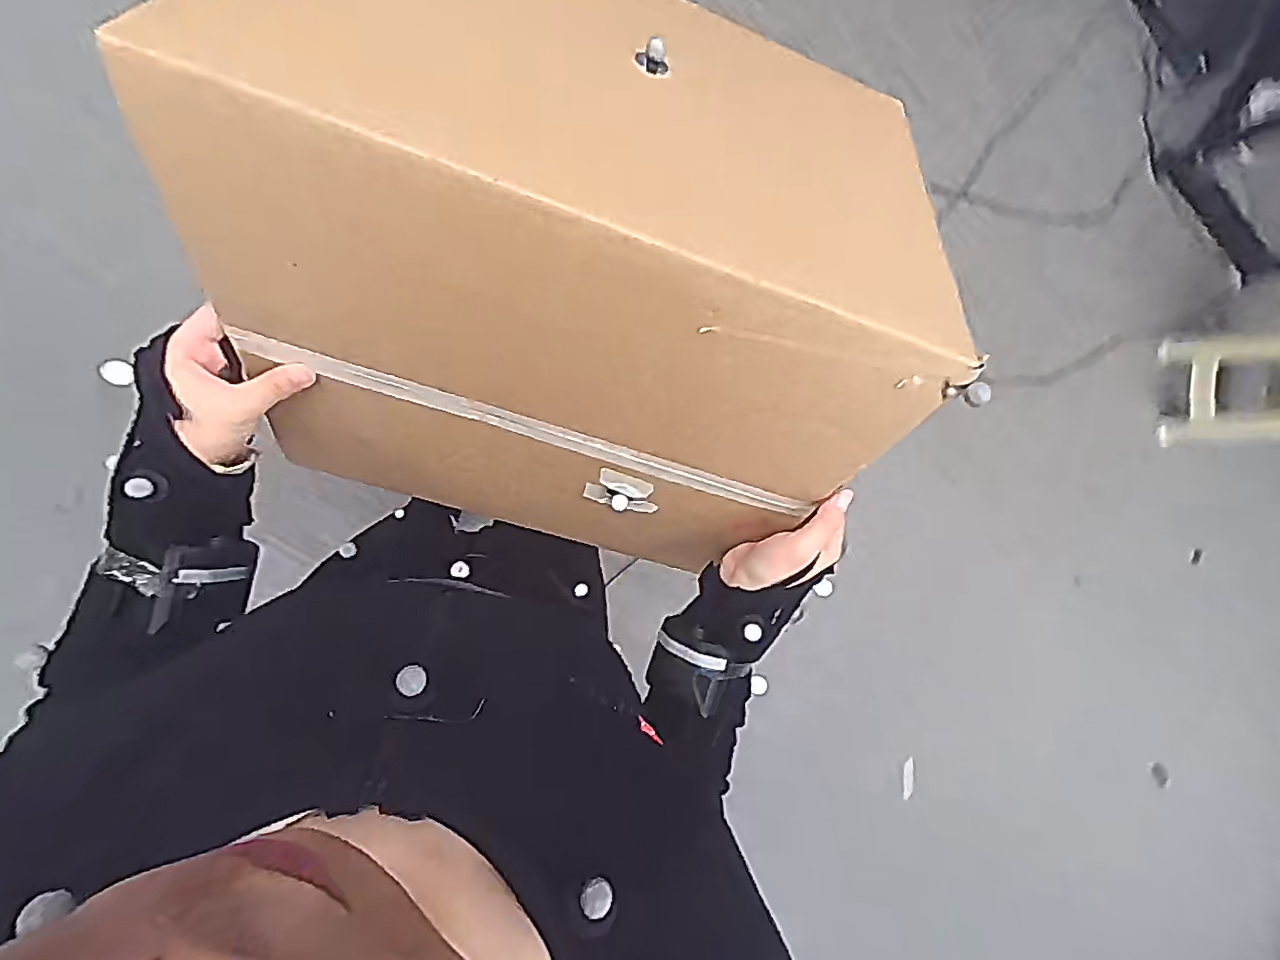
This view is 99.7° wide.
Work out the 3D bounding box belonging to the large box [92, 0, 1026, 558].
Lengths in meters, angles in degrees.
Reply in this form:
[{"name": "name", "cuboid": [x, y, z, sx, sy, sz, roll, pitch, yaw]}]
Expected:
[{"name": "large box", "cuboid": [-0.032, -0.175, 0.425, 0.408, 0.320, 0.320, 14, 57, -10]}]
